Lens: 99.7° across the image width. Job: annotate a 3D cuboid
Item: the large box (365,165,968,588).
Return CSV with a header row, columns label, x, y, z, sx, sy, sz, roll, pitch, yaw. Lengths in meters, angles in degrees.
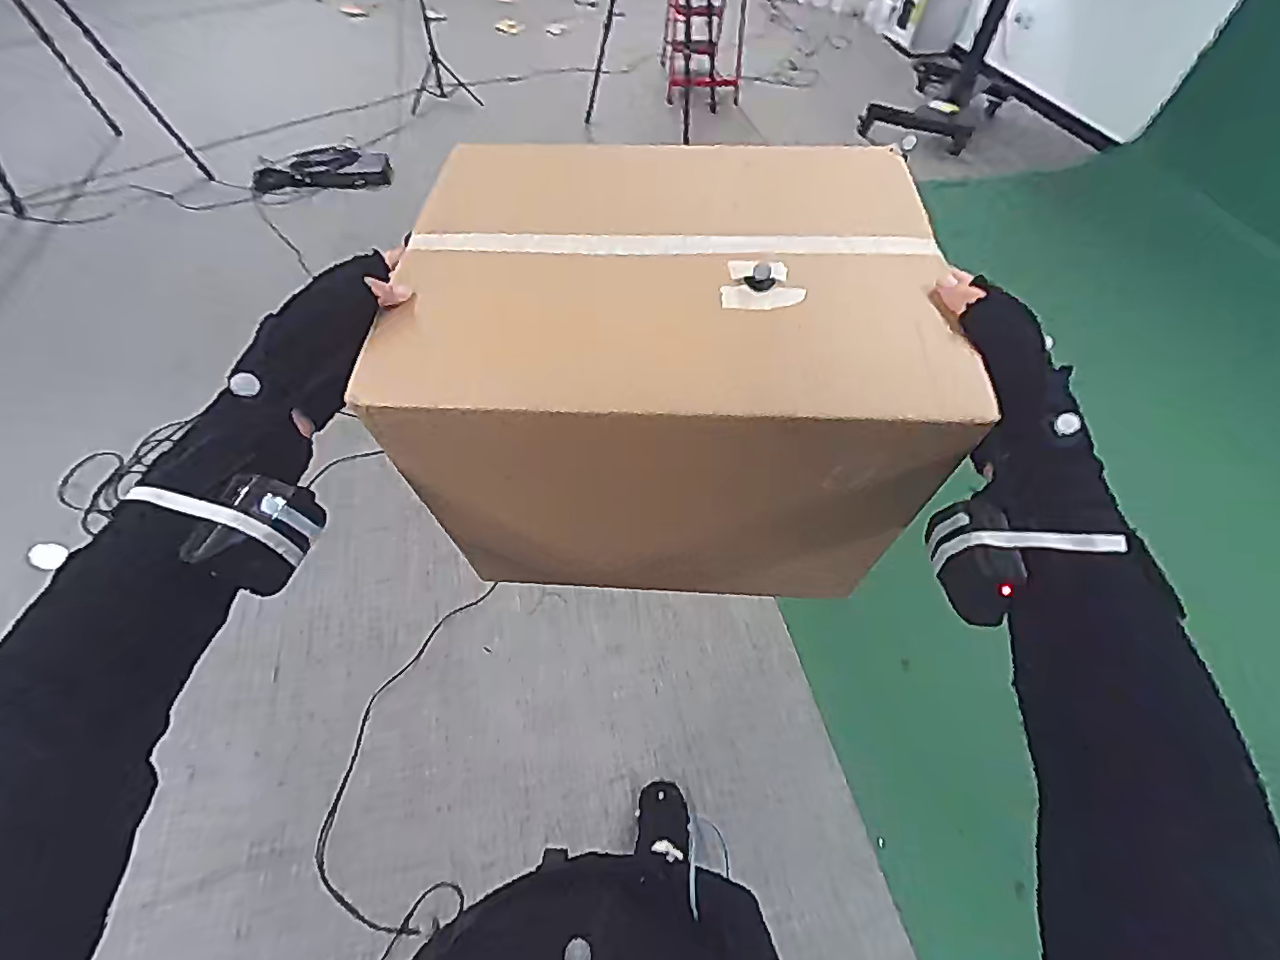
label,x,y,z,sx,sy,sz,roll,pitch,yaw
large box,0.020,-0.089,0.555,0.408,0.320,0.320,2,59,2
